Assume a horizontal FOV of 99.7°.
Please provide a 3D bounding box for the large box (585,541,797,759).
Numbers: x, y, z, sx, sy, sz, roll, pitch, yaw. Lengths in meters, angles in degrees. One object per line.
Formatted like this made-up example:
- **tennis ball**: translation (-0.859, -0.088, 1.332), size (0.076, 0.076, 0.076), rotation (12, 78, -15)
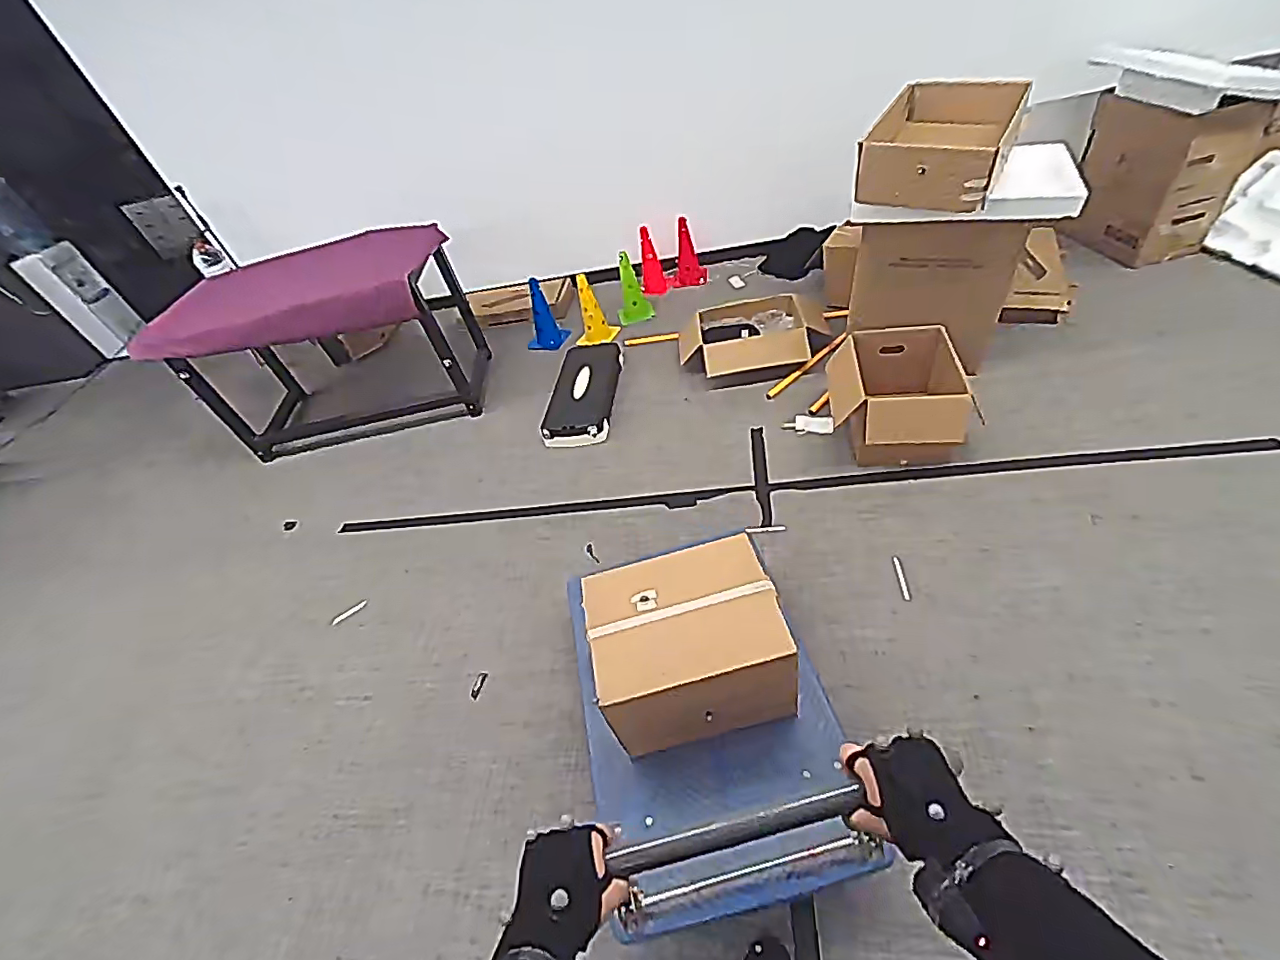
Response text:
- **large box**: translation (0.119, 0.403, 1.273), size (0.408, 0.320, 0.320), rotation (-17, 43, 1)
